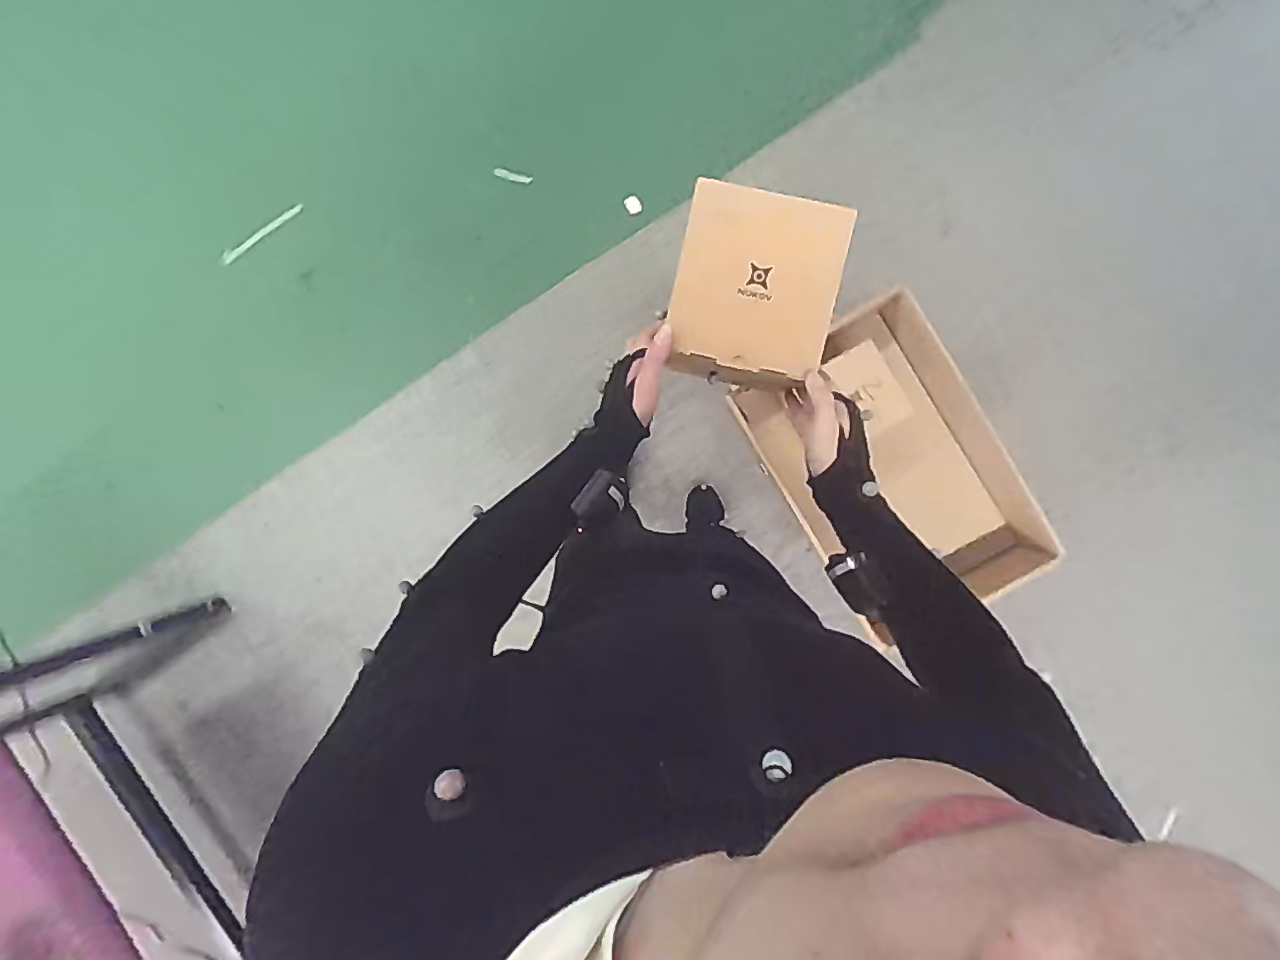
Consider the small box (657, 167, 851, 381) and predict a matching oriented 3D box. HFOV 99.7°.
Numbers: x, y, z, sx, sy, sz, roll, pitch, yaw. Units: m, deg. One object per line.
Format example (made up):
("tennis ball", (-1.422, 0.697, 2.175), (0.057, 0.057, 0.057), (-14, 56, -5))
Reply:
("small box", (0.114, -0.219, 0.624), (0.168, 0.176, 0.179), (12, 97, -1))
